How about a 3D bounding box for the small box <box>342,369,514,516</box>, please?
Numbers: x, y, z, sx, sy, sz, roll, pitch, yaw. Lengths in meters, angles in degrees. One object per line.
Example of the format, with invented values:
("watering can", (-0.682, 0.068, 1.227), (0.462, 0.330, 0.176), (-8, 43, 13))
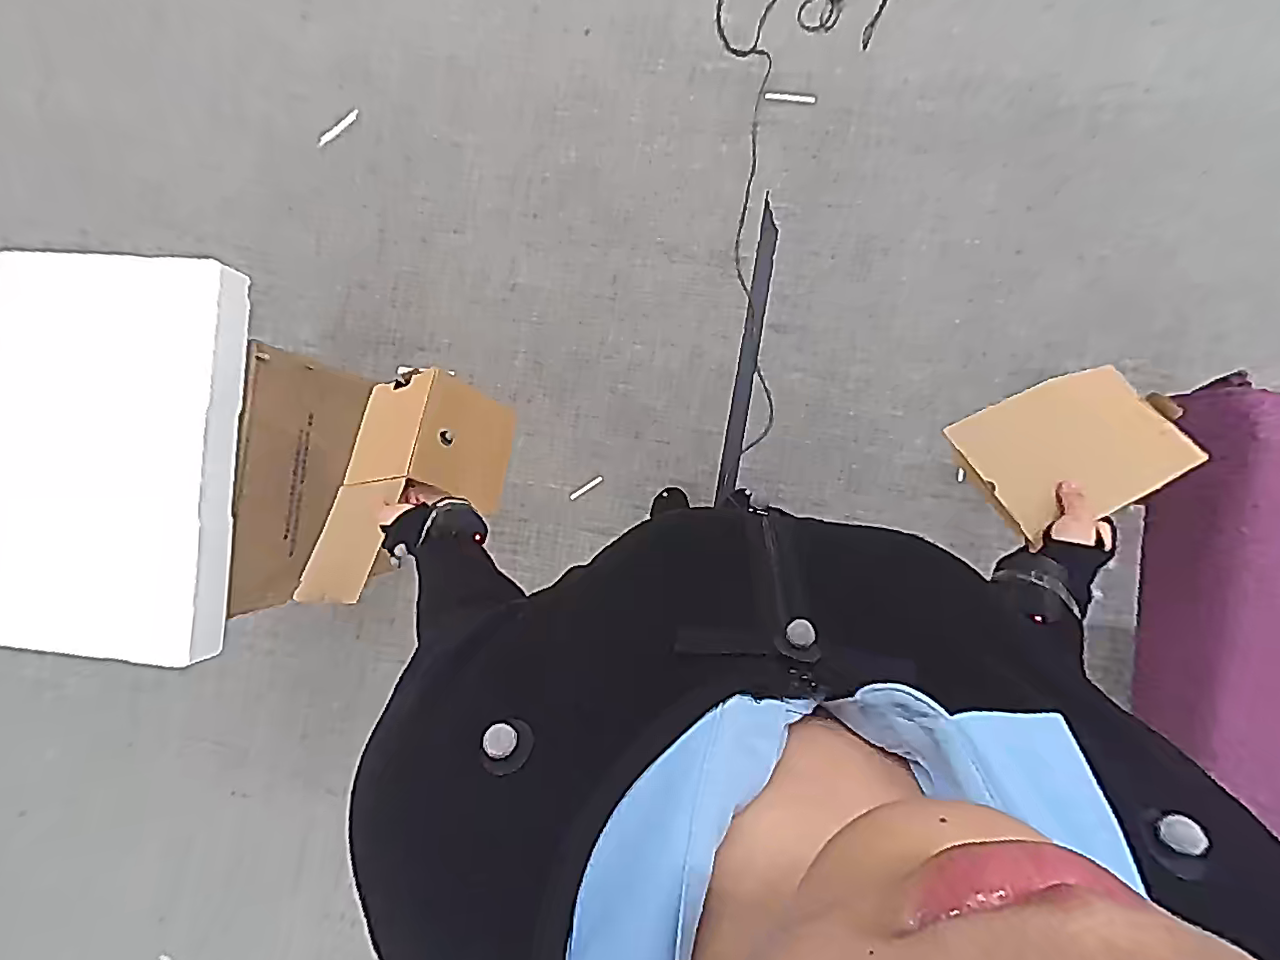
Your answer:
("small box", (-0.323, -0.045, 0.850), (0.168, 0.176, 0.179), (-5, 66, 32))
